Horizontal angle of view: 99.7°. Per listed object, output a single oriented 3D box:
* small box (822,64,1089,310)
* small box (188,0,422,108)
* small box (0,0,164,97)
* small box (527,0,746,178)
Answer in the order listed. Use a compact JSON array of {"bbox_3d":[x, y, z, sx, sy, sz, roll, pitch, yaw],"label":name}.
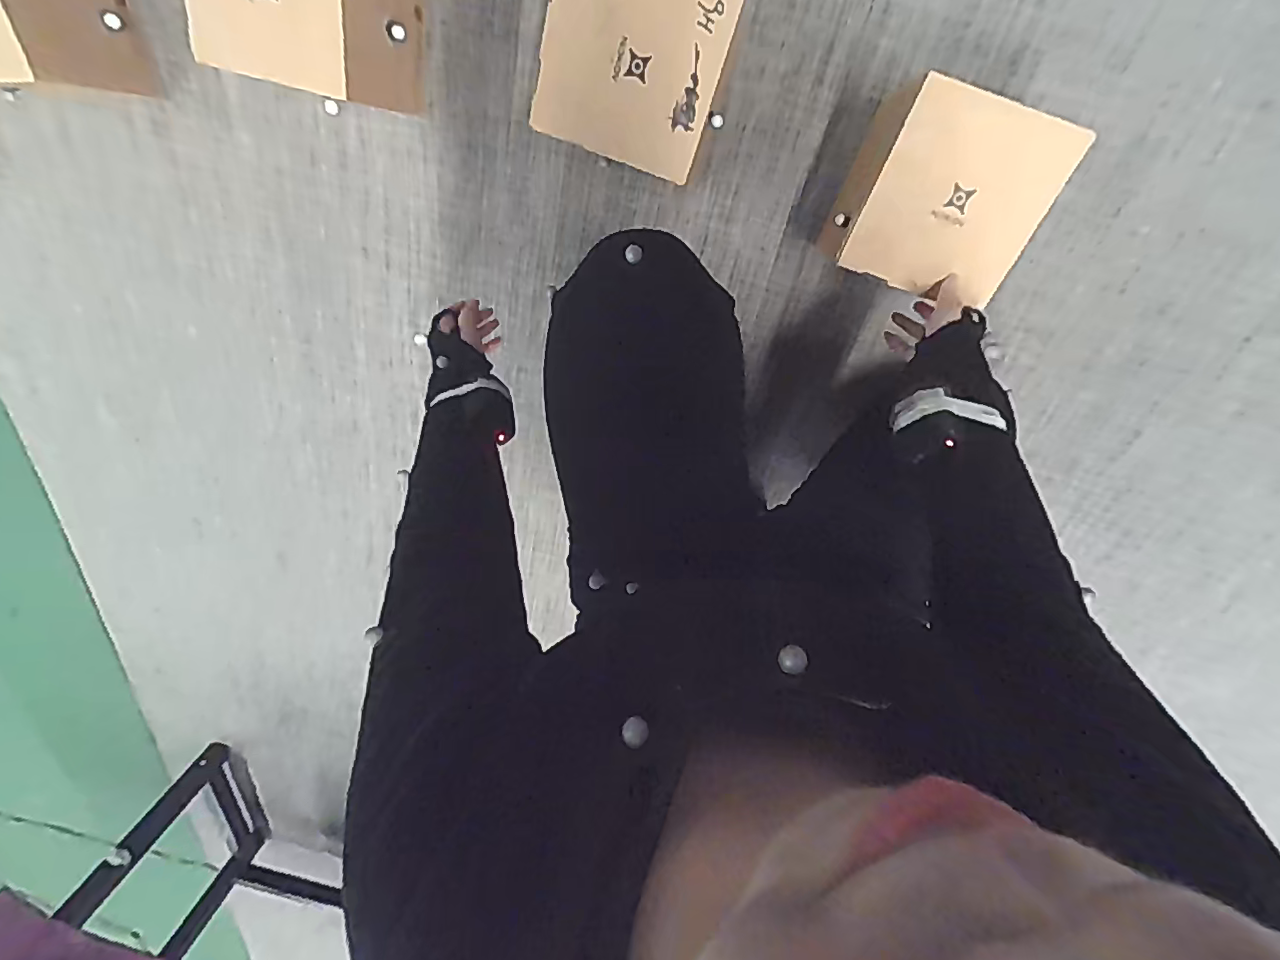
[{"bbox_3d":[0.320,-0.317,0.599,0.168,0.176,0.179,20,122,-1],"label":"small box"},{"bbox_3d":[-0.360,-0.535,0.604,0.179,0.176,0.168,16,120,2],"label":"small box"},{"bbox_3d":[-0.753,-0.575,0.657,0.179,0.176,0.168,5,120,7],"label":"small box"},{"bbox_3d":[0.002,-0.444,0.586,0.179,0.176,0.168,21,121,0],"label":"small box"}]
